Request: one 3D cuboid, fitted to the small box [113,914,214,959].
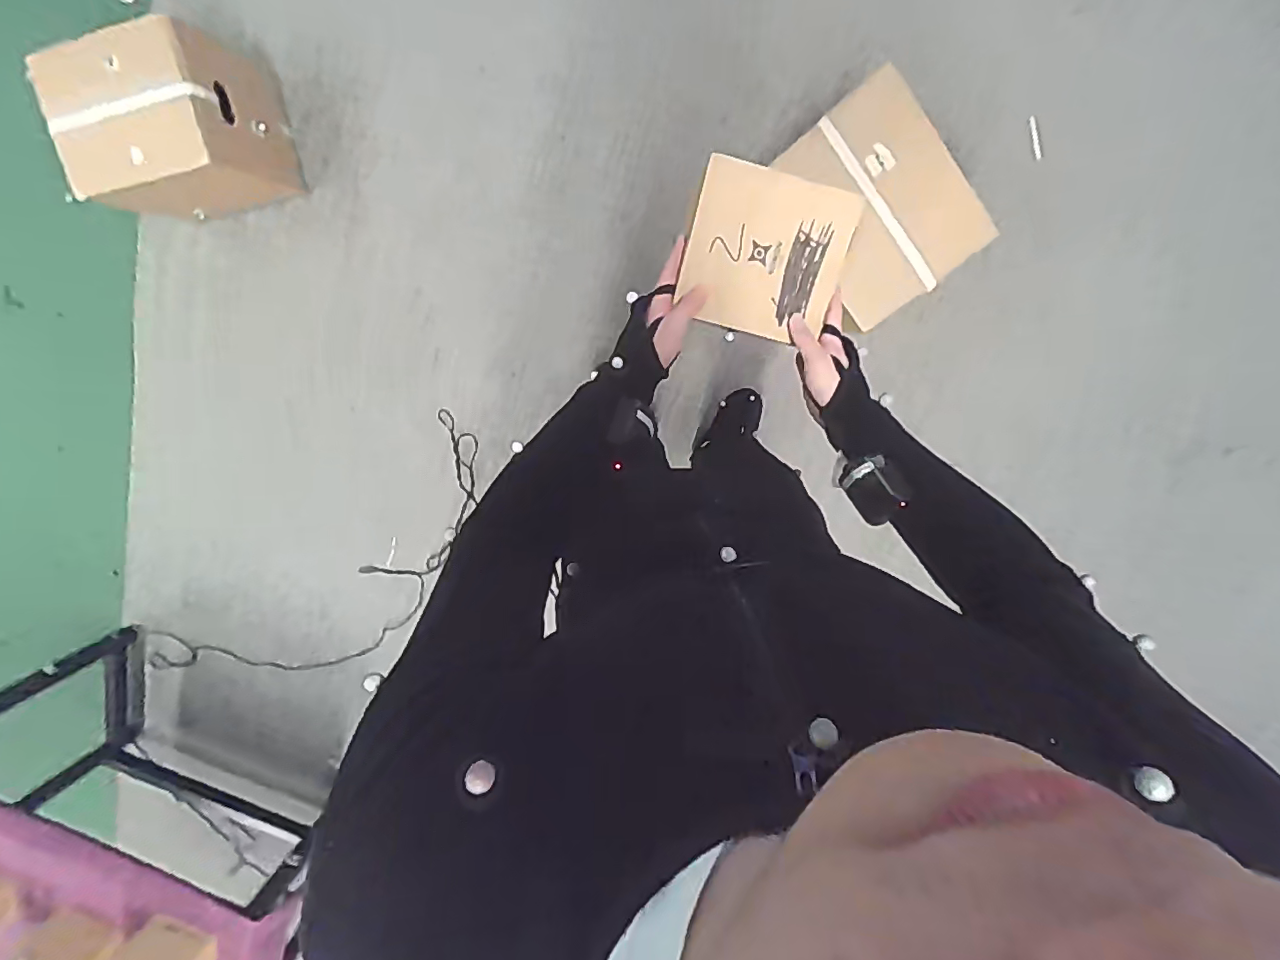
[{"bbox_3d":[-1.188,1.225,1.321,0.168,0.176,0.179,19,110,3],"label":"small box"}]

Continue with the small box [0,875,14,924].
[{"bbox_3d":[-1.790,1.126,1.389,0.179,0.176,0.168,21,108,1],"label":"small box"}]

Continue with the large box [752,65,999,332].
[{"bbox_3d":[0.500,-0.592,1.232,0.320,0.320,0.408,-36,97,15],"label":"large box"}]

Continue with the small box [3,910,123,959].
[{"bbox_3d":[-1.486,1.252,1.376,0.179,0.176,0.168,22,109,2],"label":"small box"}]
